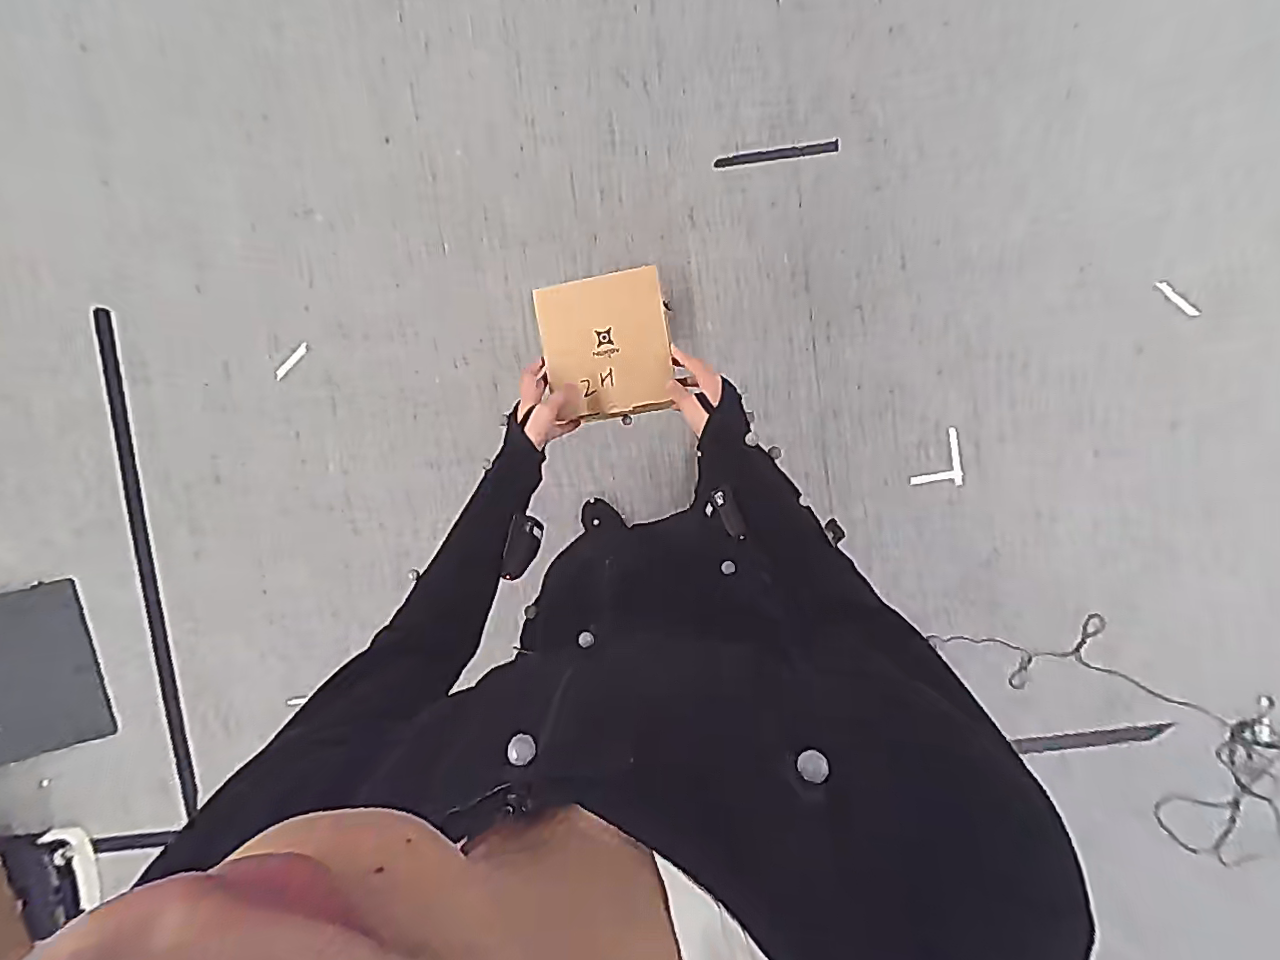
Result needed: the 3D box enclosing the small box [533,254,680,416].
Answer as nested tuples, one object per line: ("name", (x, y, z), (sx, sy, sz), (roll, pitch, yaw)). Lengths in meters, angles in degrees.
("small box", (-0.037, -0.189, 0.759), (0.168, 0.176, 0.179), (-9, 94, 7))
